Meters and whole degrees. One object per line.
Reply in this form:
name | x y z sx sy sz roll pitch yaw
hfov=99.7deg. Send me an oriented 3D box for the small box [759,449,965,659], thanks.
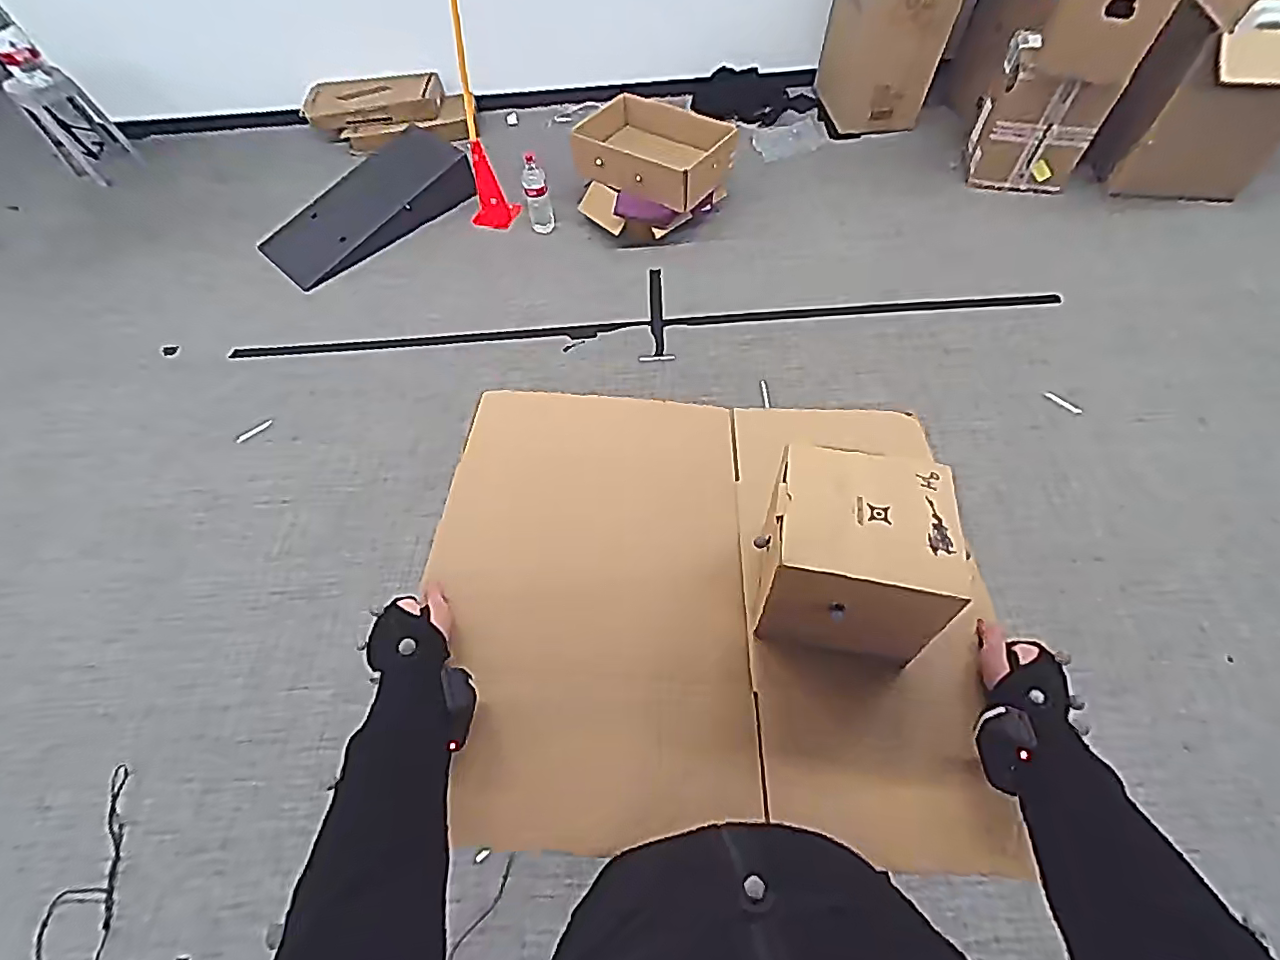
small box | 0.238 0.088 0.622 0.179 0.176 0.168 8 53 10
